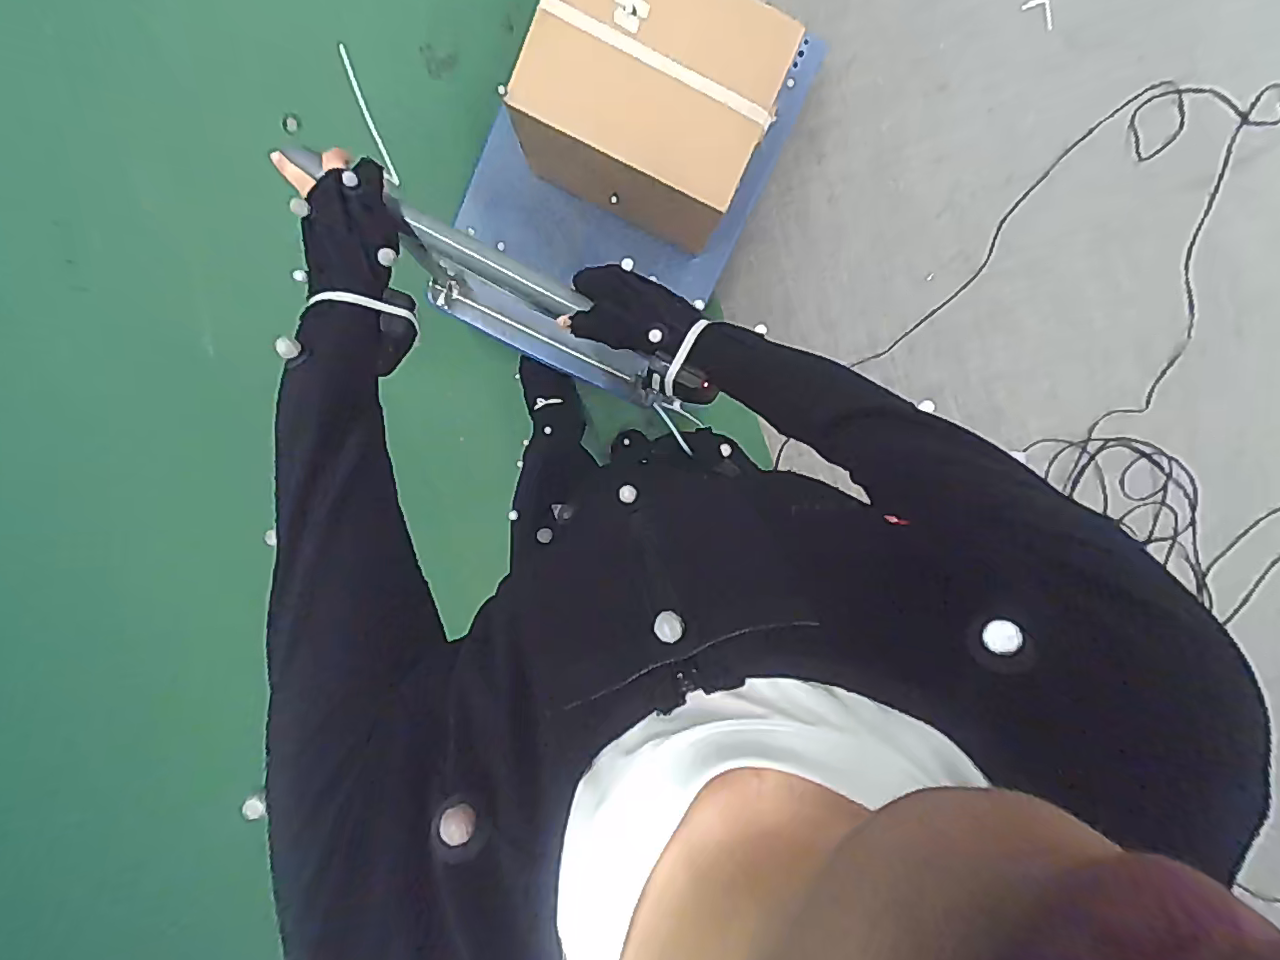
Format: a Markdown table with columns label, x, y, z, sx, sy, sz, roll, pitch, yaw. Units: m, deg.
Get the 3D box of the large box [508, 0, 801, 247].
| label | x | y | z | sx | sy | sz | roll | pitch | yaw |
| --- | --- | --- | --- | --- | --- | --- | --- | --- | --- |
| large box | 0.020 | -0.702 | 1.026 | 0.408 | 0.320 | 0.320 | 24 | 98 | -6 |
